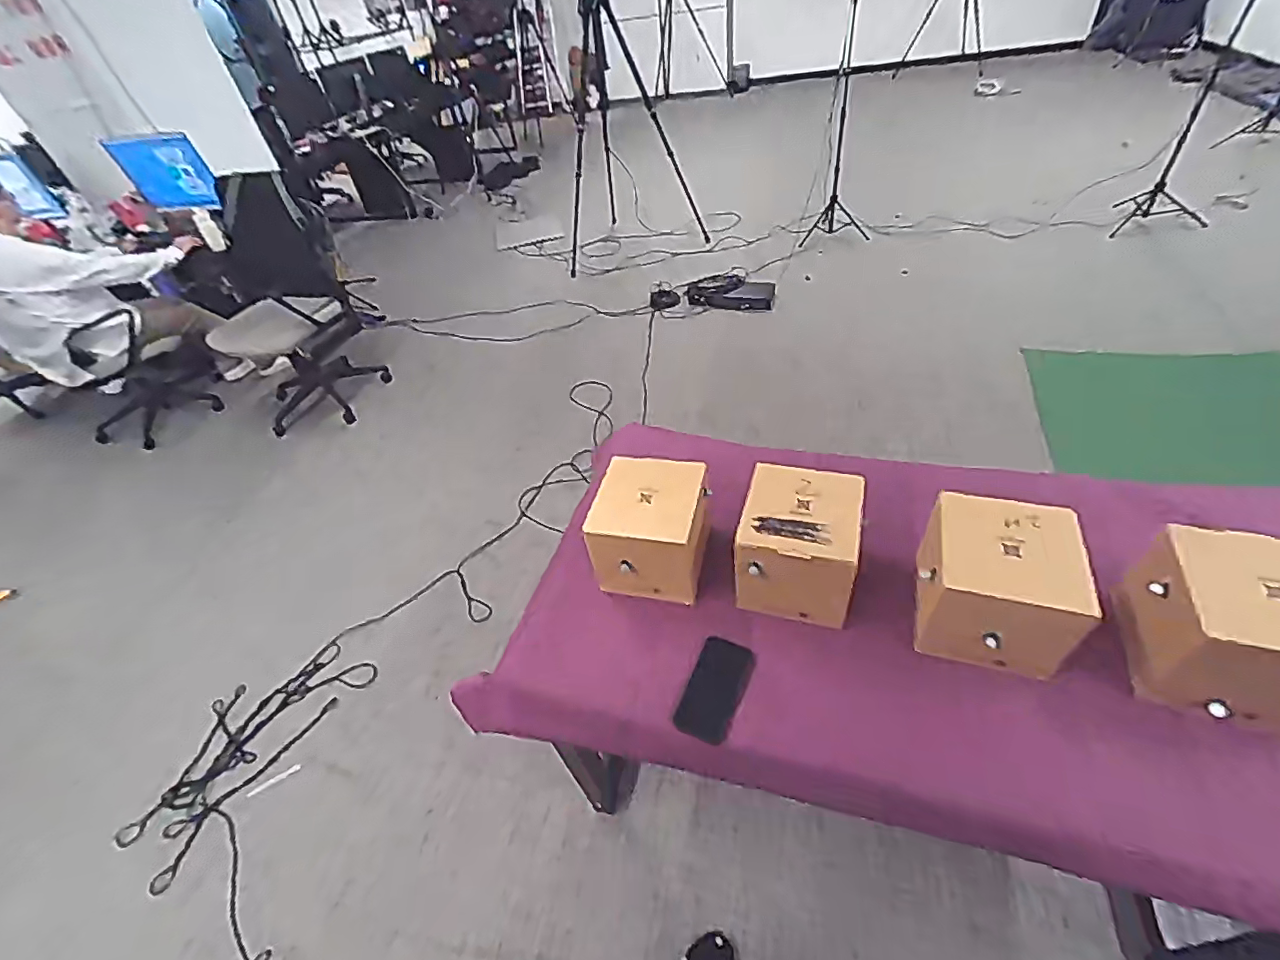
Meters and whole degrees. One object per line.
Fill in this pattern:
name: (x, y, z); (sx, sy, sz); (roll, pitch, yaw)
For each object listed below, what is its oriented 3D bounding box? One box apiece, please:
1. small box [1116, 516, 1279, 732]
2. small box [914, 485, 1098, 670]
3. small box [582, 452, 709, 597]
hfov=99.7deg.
small box: (0.736, 0.176, 0.670); (0.168, 0.176, 0.179); (10, 47, 22)
small box: (0.493, 0.136, 0.756); (0.168, 0.176, 0.179); (10, 47, 19)
small box: (0.021, 0.075, 0.912); (0.168, 0.176, 0.179); (5, 45, 16)
